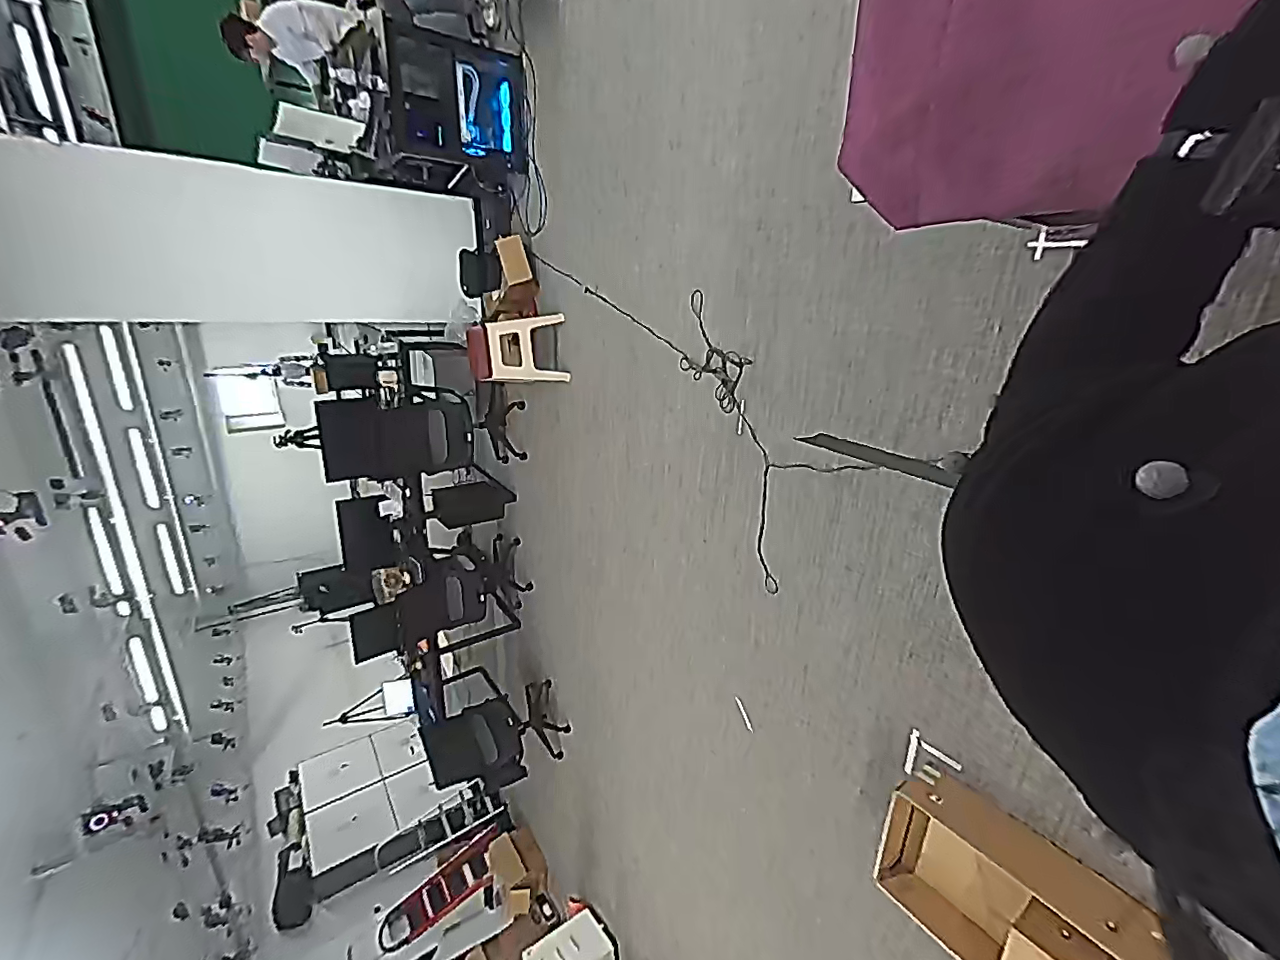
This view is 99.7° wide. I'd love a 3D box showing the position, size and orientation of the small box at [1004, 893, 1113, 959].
[{"bbox_3d":[1.053,1.208,1.365,0.168,0.176,0.179,24,119,52],"label":"small box"}]
